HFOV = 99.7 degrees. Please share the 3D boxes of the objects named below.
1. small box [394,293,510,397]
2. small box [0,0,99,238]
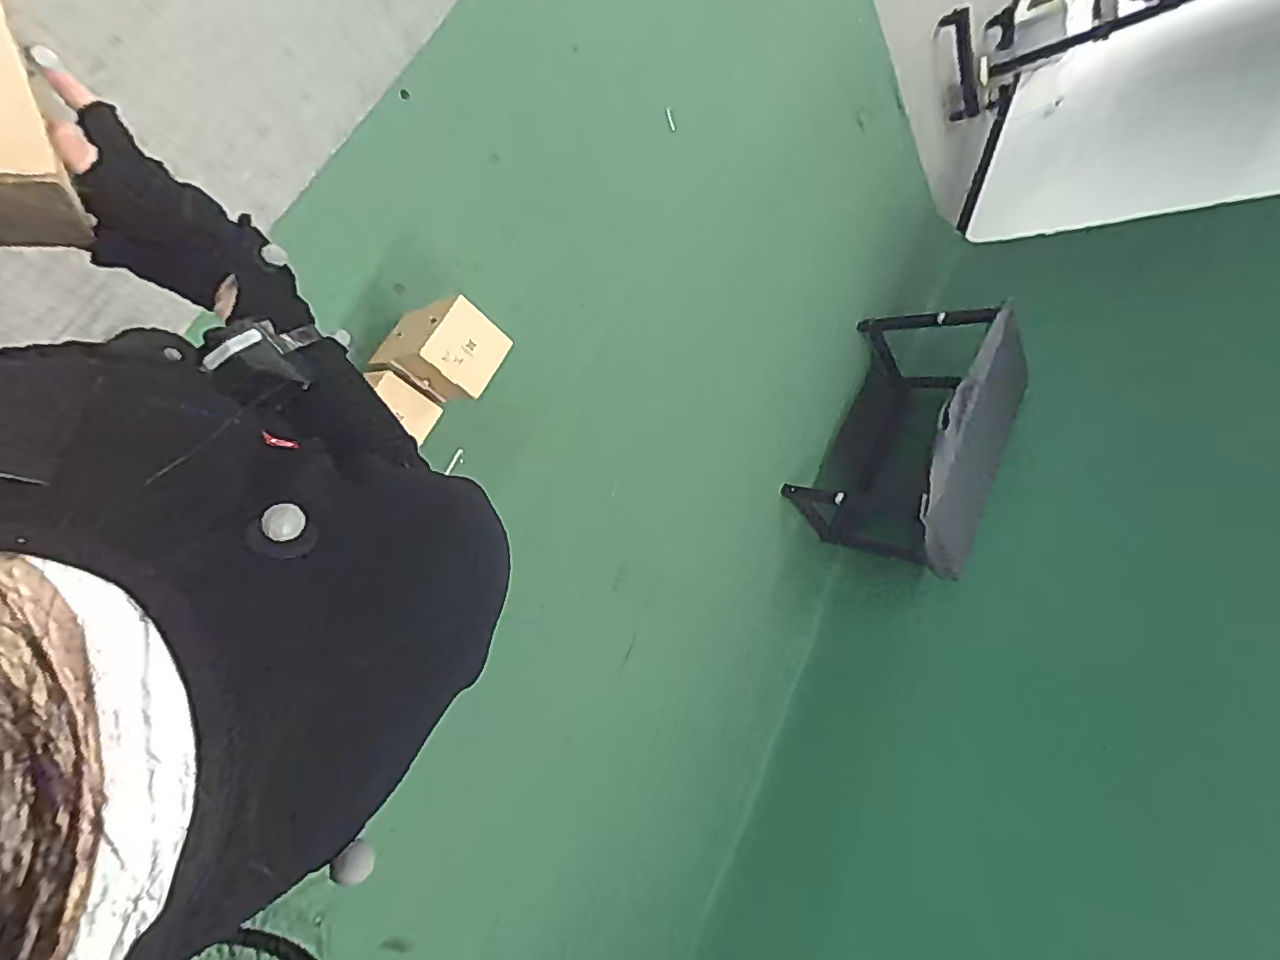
[{"bbox_3d":[-0.455,-0.317,1.295,0.168,0.176,0.179,42,68,-39],"label":"small box"},{"bbox_3d":[-0.418,-0.230,0.274,0.168,0.176,0.179,-19,109,-38],"label":"small box"}]
